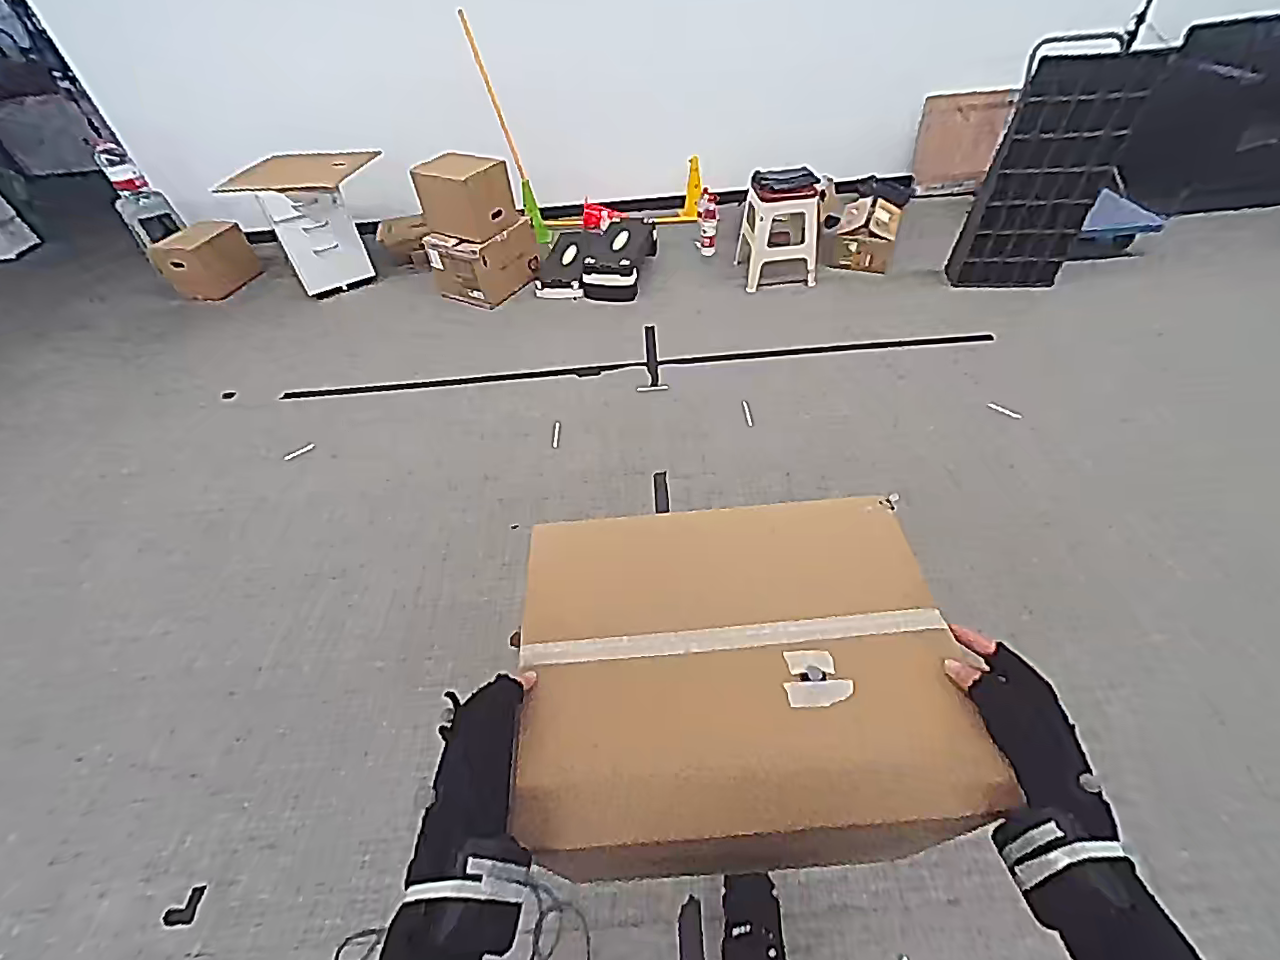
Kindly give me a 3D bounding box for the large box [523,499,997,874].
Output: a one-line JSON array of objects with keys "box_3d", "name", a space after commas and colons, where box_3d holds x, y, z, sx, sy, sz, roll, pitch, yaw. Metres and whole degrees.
[{"box_3d": [0.095, 0.252, 0.650, 0.408, 0.320, 0.320, -5, 50, 0], "name": "large box"}]
